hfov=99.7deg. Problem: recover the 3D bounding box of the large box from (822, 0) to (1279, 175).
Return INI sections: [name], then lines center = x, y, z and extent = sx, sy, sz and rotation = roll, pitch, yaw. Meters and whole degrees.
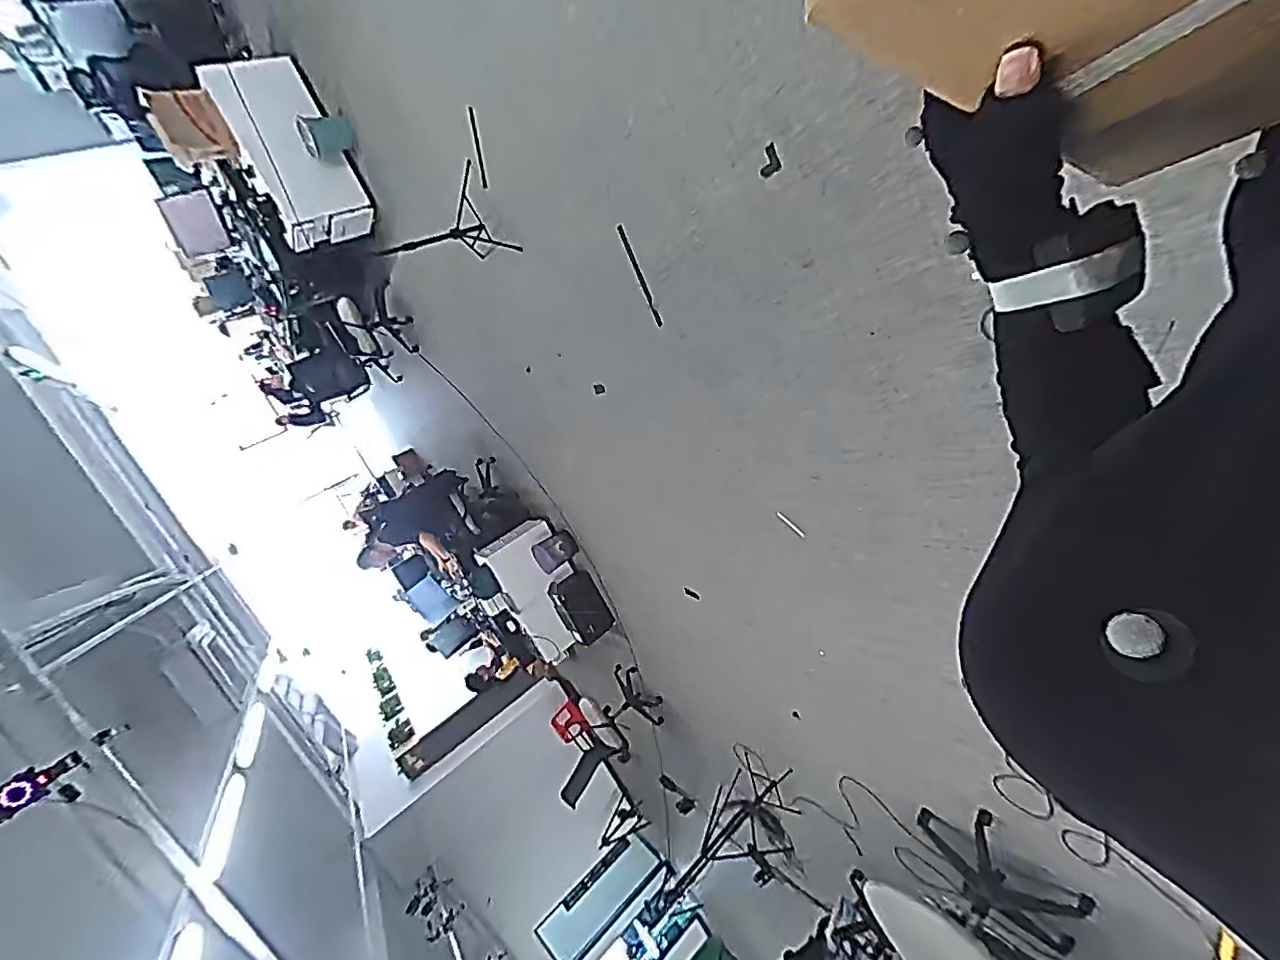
[large box]
center = 0.304, -0.378, 0.155
extent = 0.408, 0.320, 0.320
rotation = -3, 88, 61
